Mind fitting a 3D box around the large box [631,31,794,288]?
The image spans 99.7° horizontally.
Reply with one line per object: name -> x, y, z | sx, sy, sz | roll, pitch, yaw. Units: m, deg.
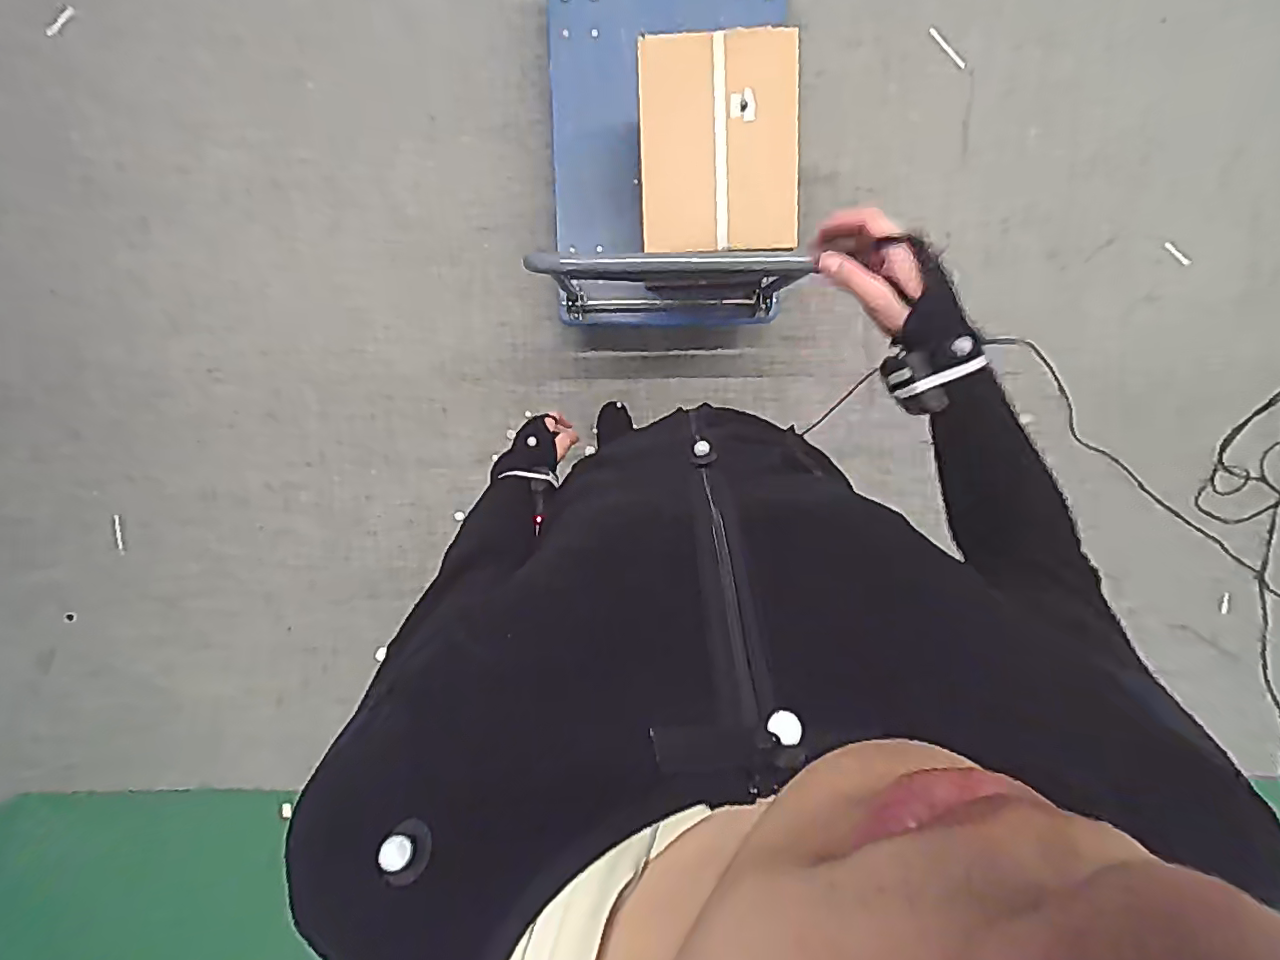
large box -> 0.148, -0.675, 1.210 | 0.320, 0.320, 0.408 | -2, 98, 0
